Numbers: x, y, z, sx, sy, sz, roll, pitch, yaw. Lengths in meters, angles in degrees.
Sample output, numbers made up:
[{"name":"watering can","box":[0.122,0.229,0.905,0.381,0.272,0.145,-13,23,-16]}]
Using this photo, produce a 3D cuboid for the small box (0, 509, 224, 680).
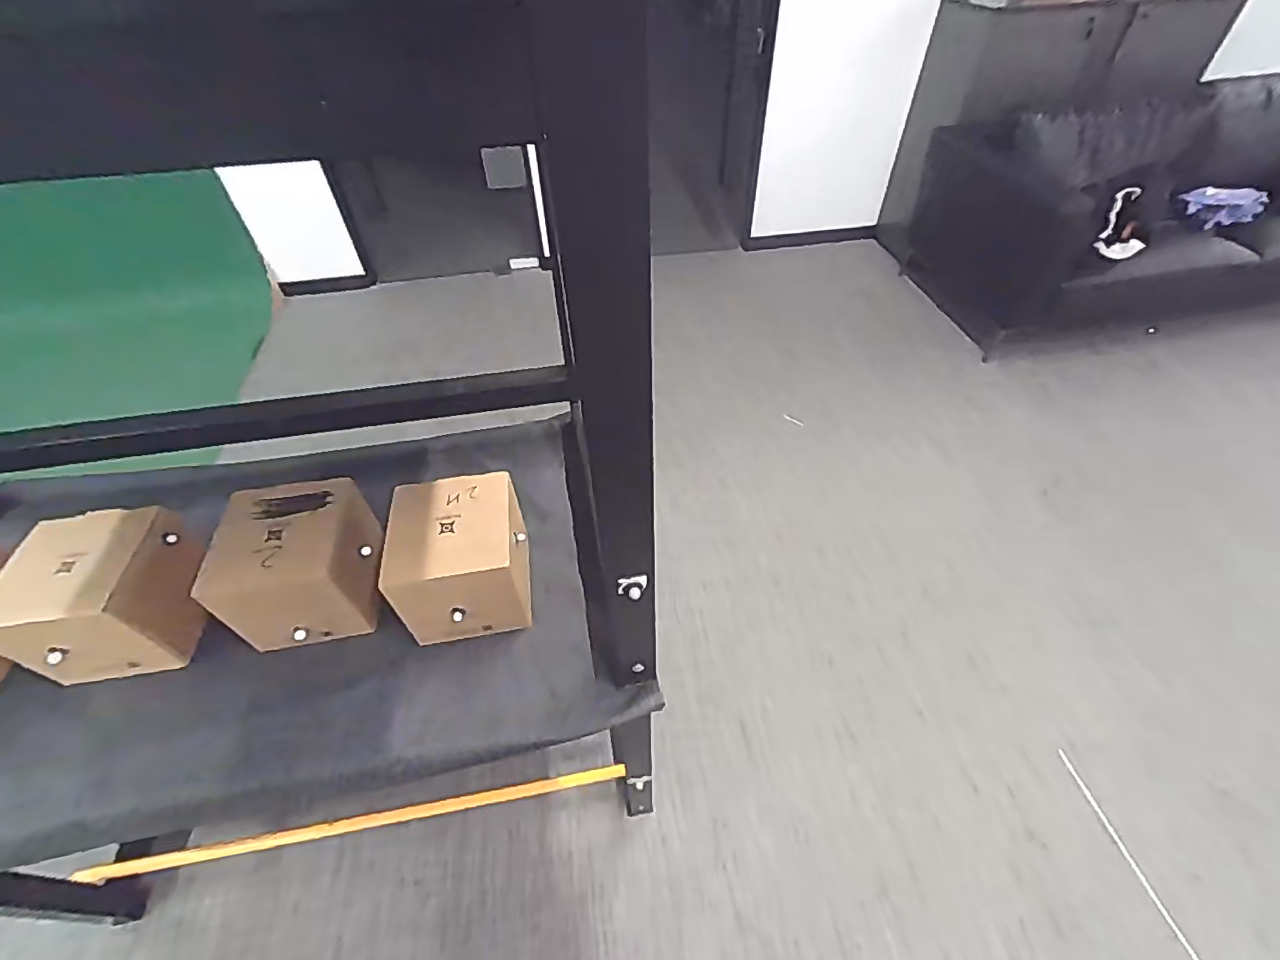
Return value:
[{"name":"small box","box":[-0.747,0.169,0.773,0.168,0.176,0.179,-8,48,-6]}]

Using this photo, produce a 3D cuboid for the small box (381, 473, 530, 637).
[{"name":"small box","box":[-0.260,0.117,0.803,0.168,0.176,0.179,-9,47,-6]}]
